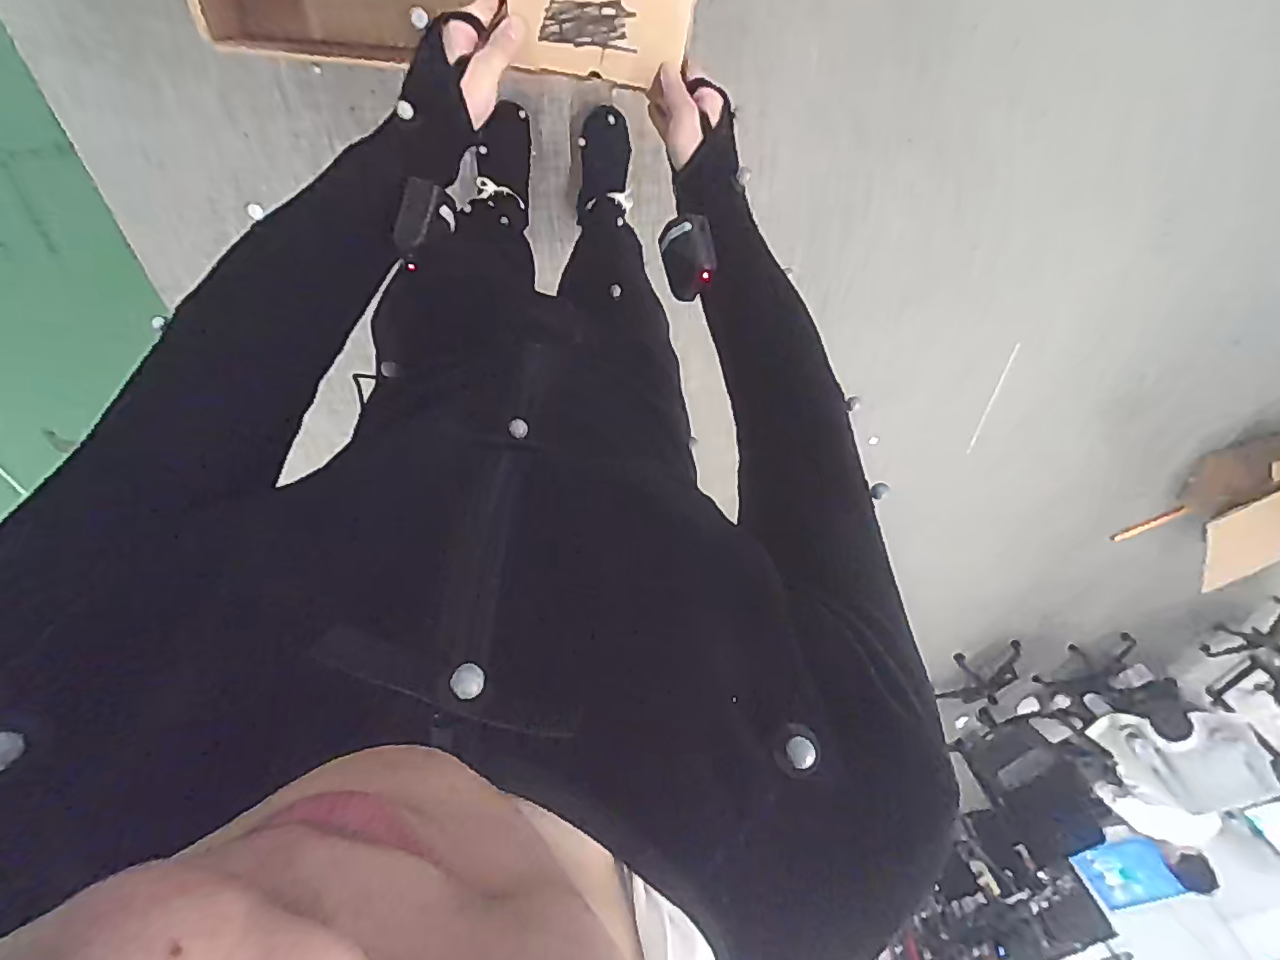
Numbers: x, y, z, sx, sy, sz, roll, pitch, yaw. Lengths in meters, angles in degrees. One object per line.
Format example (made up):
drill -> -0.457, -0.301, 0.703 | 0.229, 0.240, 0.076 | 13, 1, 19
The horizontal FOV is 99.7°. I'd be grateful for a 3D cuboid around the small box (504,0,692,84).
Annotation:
small box -> -0.040, -0.505, 0.506 | 0.168, 0.176, 0.179 | 0, 134, -15
